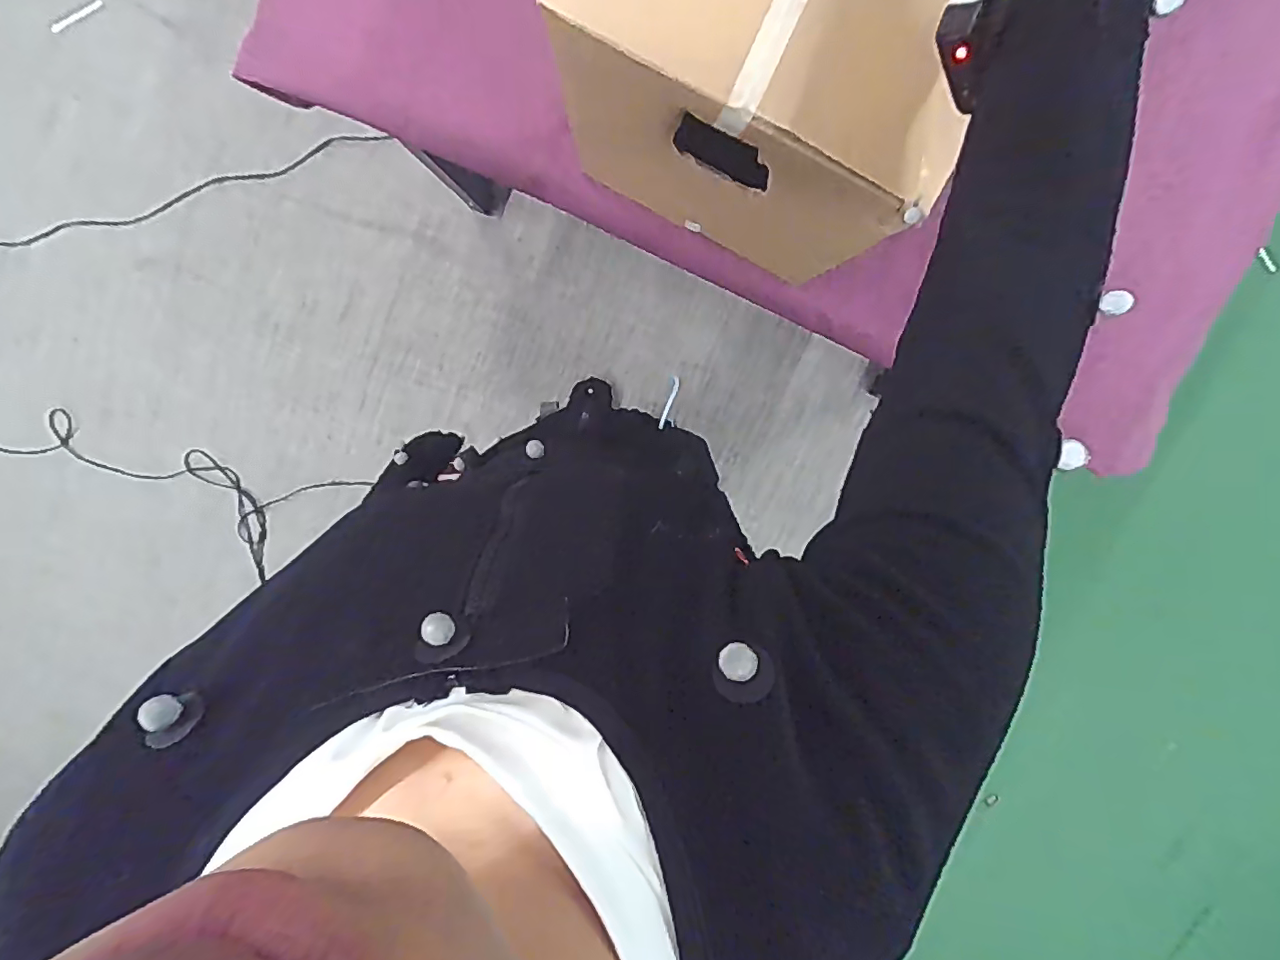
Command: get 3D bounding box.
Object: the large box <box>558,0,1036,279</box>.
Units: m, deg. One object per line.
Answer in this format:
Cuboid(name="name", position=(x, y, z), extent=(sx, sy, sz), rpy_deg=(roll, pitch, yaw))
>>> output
Cuboid(name="large box", position=(0.158, -0.467, 0.513), extent=(0.320, 0.320, 0.408), rpy_deg=(26, 100, -5))
